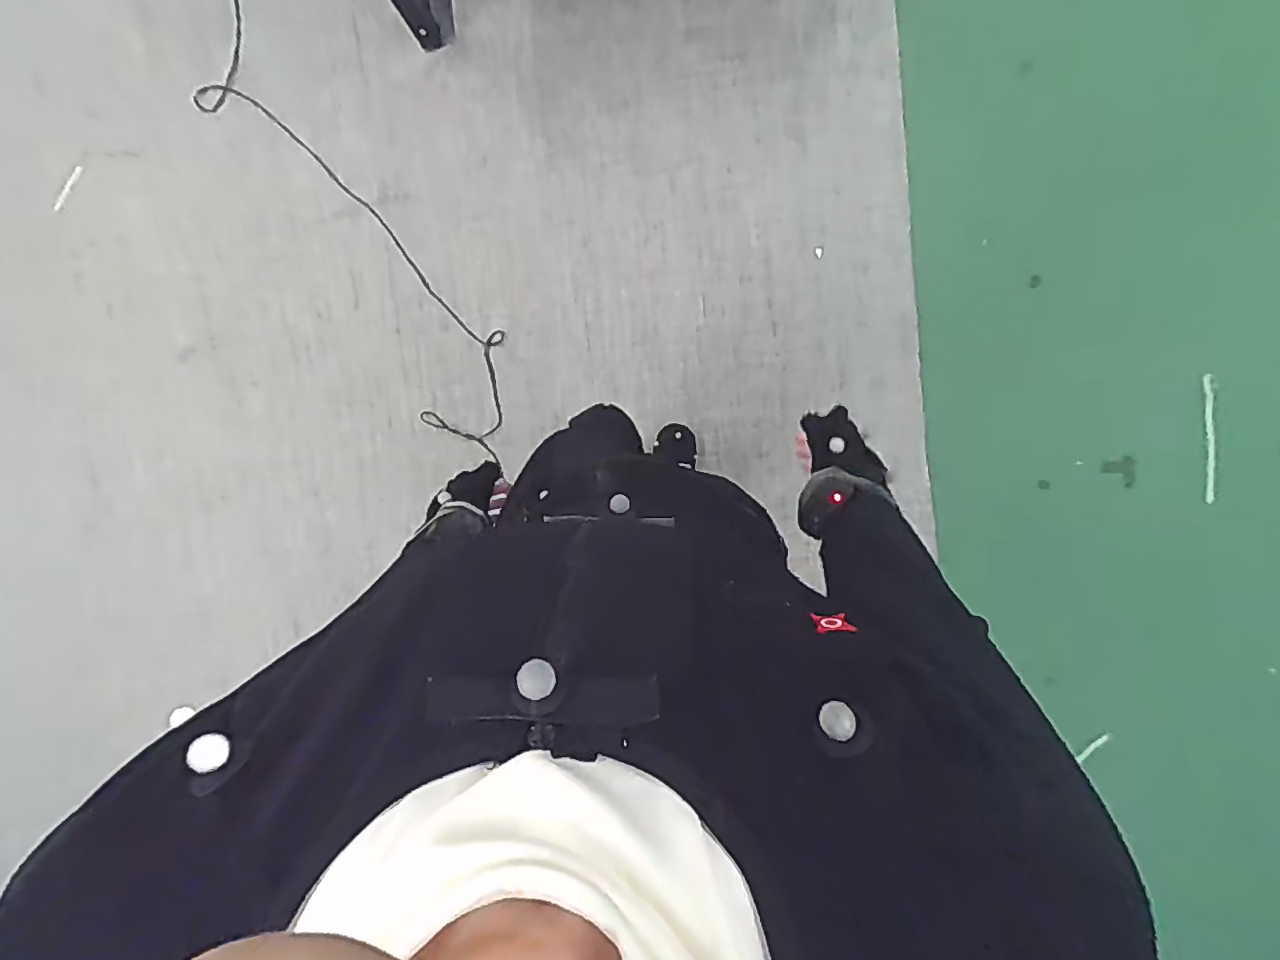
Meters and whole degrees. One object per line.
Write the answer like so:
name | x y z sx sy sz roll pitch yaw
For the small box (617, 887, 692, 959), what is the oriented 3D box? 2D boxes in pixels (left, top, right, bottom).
small box | 0.044 1.214 1.418 0.179 0.176 0.168 -8 95 4
